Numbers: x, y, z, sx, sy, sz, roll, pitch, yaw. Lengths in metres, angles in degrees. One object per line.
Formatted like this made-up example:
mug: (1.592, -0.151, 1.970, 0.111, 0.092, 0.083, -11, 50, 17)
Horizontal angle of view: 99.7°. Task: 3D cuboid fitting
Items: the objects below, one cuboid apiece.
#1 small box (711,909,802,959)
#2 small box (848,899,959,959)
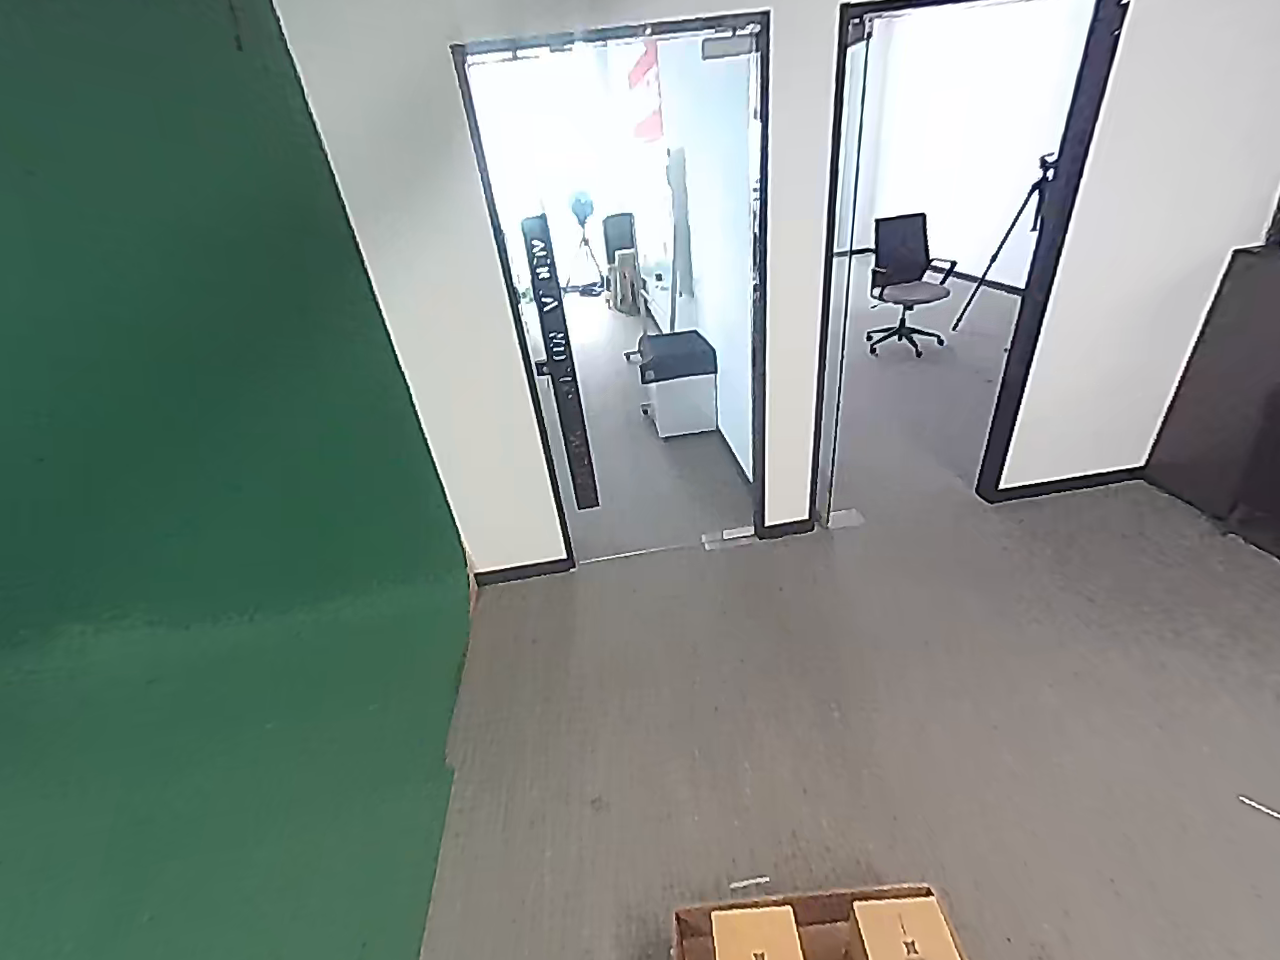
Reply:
small box: (0.229, 0.975, 1.046, 0.168, 0.176, 0.179, -5, 29, 1)
small box: (0.511, 0.946, 1.035, 0.168, 0.176, 0.179, -6, 29, 4)
